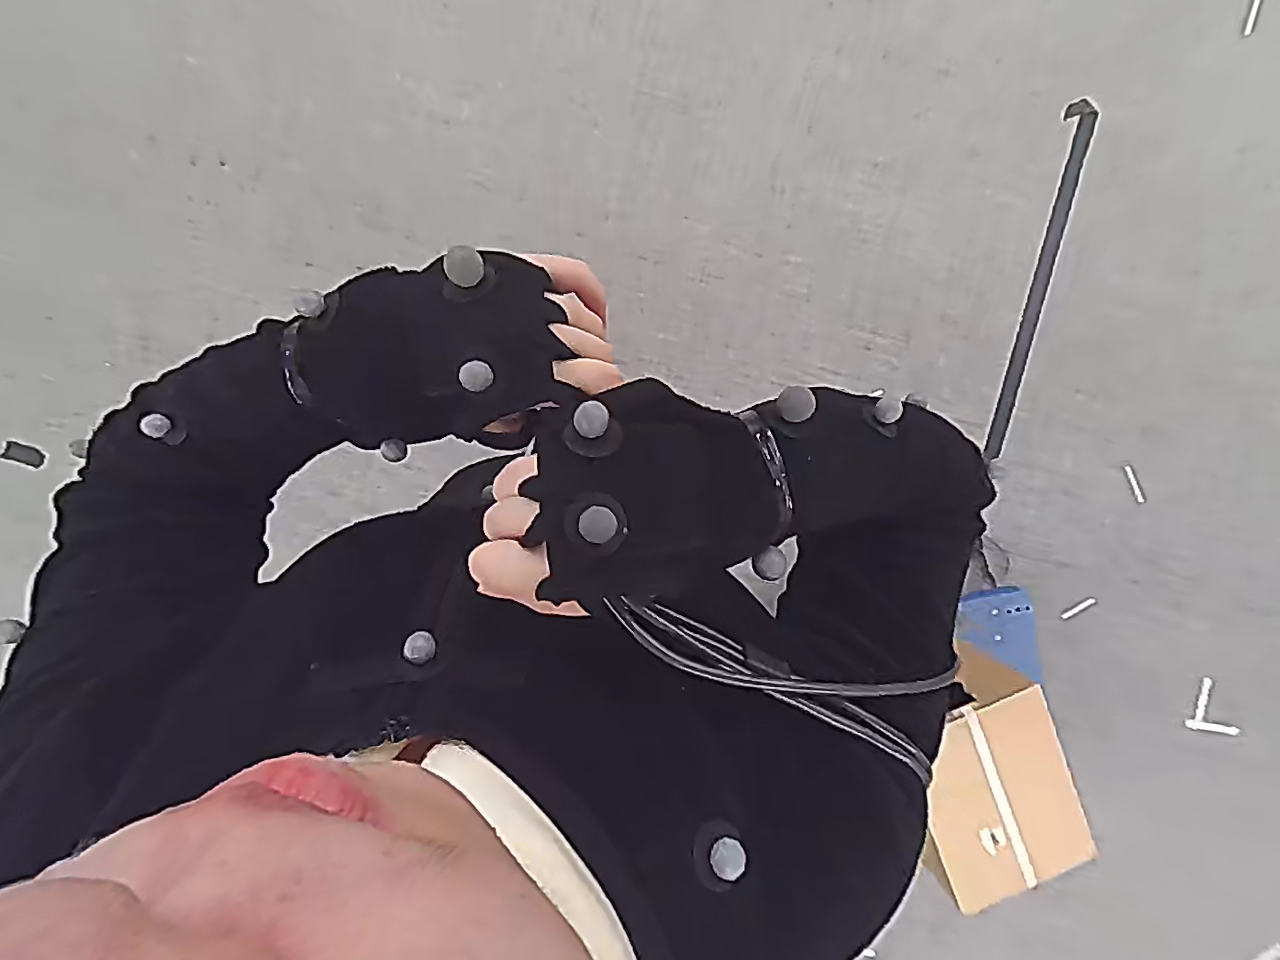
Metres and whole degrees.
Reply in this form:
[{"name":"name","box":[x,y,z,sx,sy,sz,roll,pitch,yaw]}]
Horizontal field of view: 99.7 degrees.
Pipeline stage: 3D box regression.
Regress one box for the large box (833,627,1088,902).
[{"name":"large box","box":[0.706,0.618,1.244,0.320,0.320,0.408,-22,96,-1]}]
